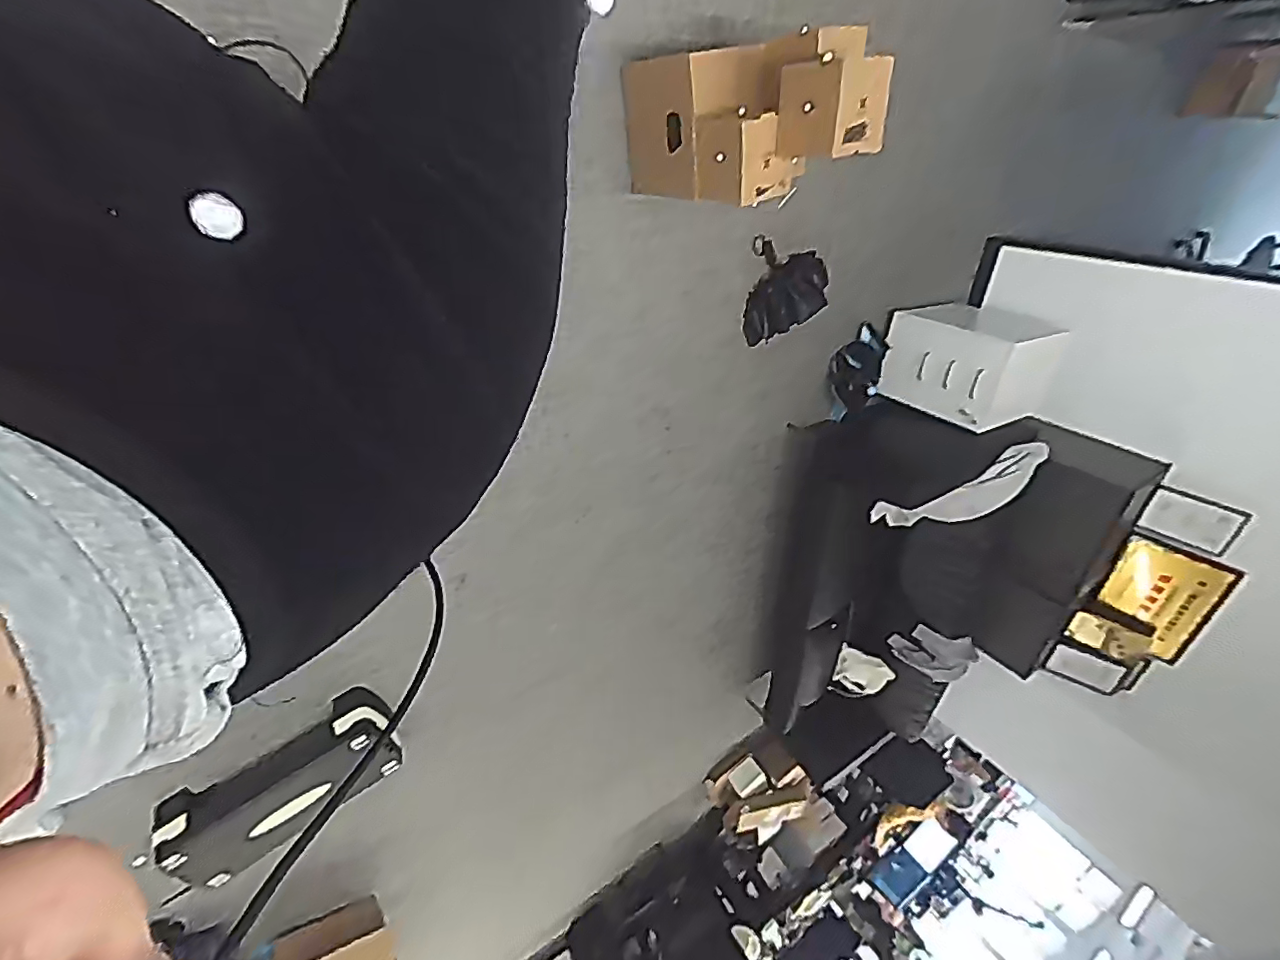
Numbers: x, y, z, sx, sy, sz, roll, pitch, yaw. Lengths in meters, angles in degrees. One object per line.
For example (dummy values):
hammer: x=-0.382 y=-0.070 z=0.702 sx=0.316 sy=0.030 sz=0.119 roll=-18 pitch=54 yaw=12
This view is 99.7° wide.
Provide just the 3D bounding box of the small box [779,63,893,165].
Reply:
small box: x=0.431 y=-0.817 z=1.214 sx=0.168 sy=0.176 sz=0.179 roll=-23 pitch=126 yaw=-26

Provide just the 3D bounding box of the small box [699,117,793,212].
small box: x=0.259 y=-0.780 z=1.336 sx=0.168 sy=0.176 sz=0.179 roll=-27 pitch=130 yaw=-22
